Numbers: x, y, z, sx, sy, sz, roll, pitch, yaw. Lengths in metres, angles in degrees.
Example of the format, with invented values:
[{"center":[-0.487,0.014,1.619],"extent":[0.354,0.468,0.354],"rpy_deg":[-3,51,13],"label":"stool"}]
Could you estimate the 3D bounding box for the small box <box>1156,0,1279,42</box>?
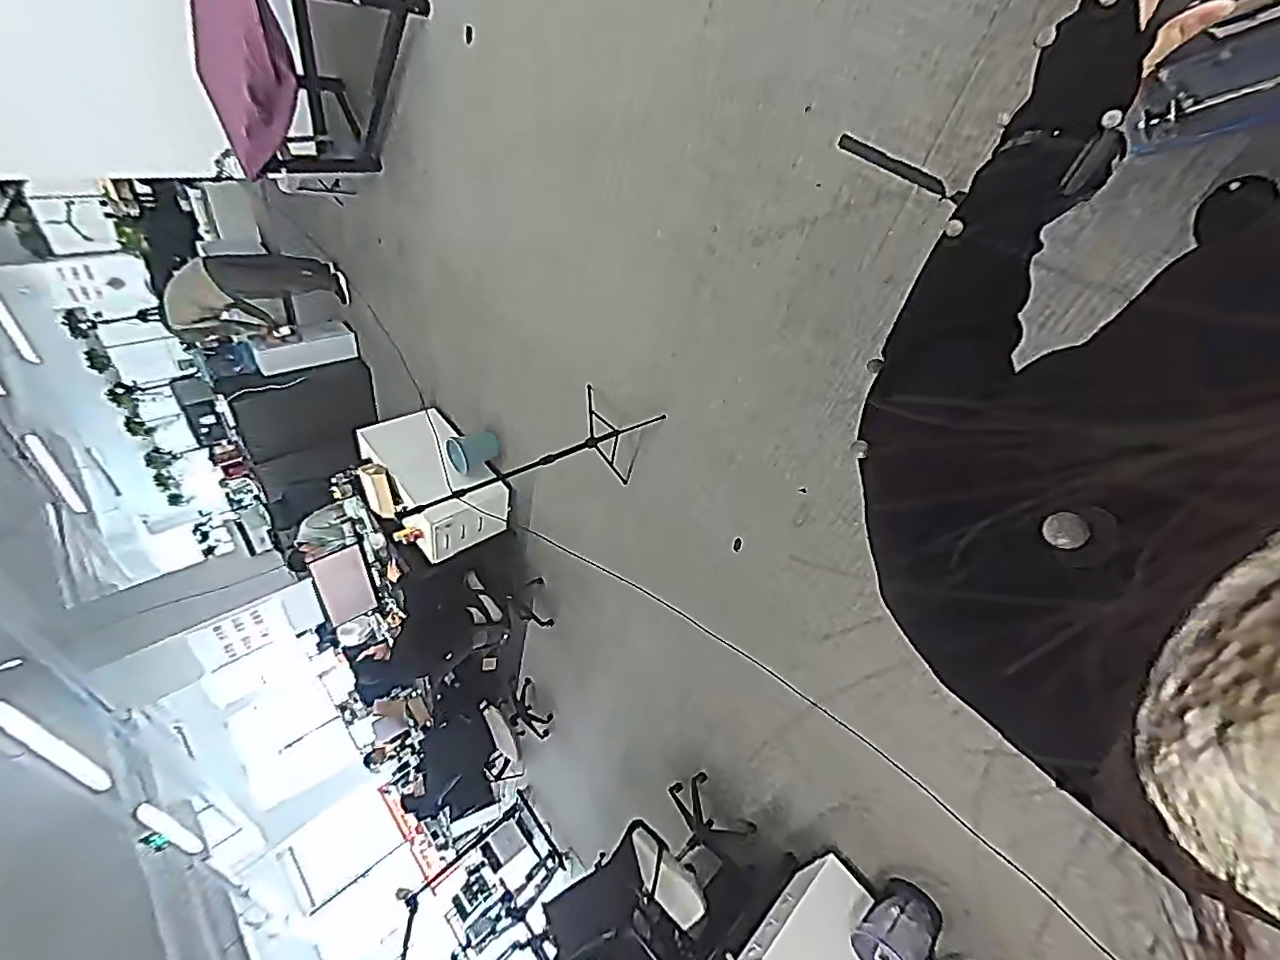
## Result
[{"center":[0.800,-0.717,0.710],"extent":[0.168,0.176,0.179],"rpy_deg":[-1,111,50],"label":"small box"}]
